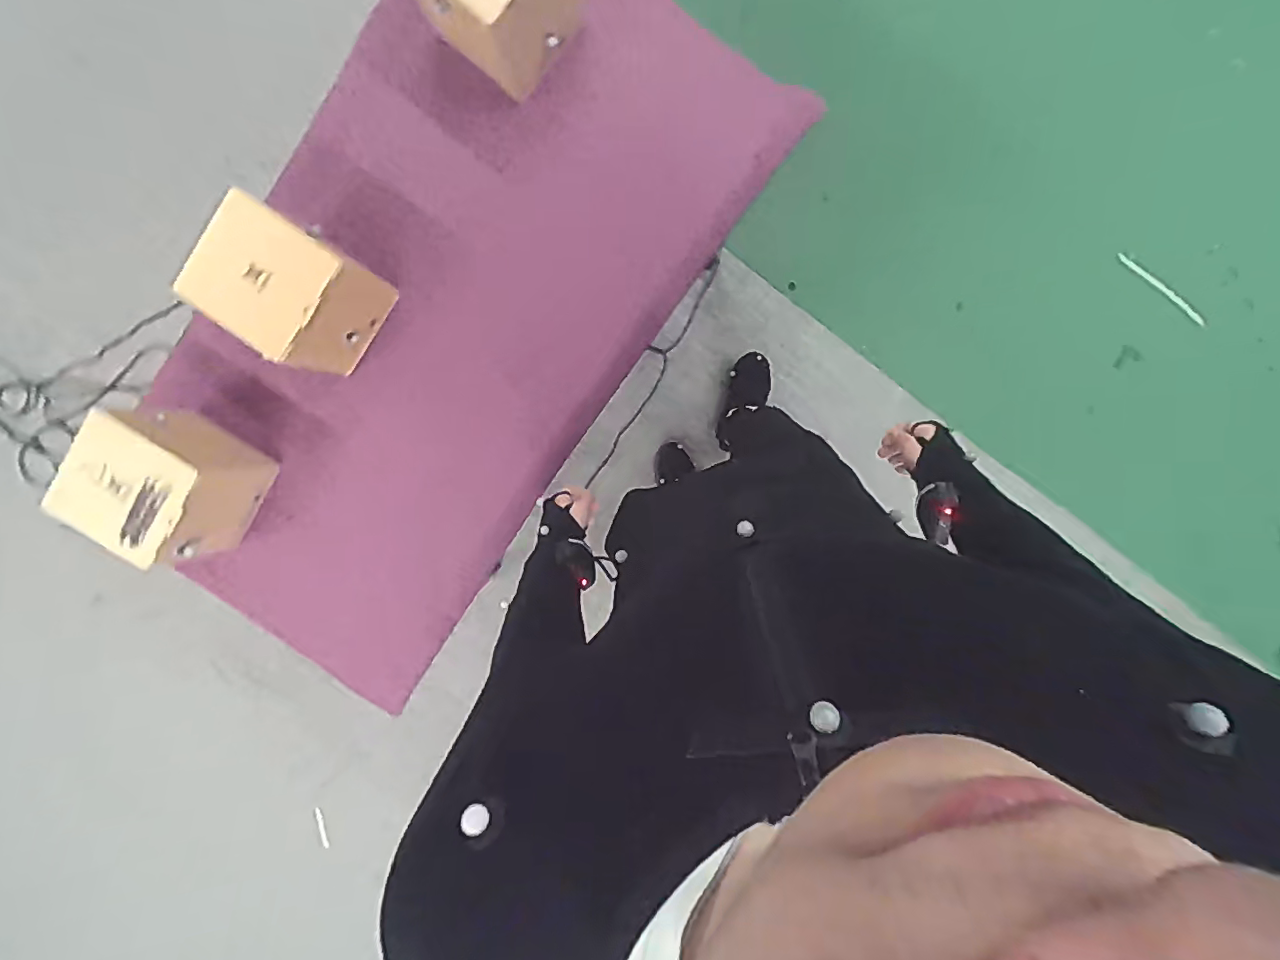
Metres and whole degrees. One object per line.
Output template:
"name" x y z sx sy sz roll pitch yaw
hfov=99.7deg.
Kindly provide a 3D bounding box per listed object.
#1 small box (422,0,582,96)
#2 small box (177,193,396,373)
"small box" -0.203 -0.694 0.753 0.179 0.176 0.168 40 96 -2
"small box" -0.508 -0.275 0.804 0.179 0.176 0.168 34 95 -2
